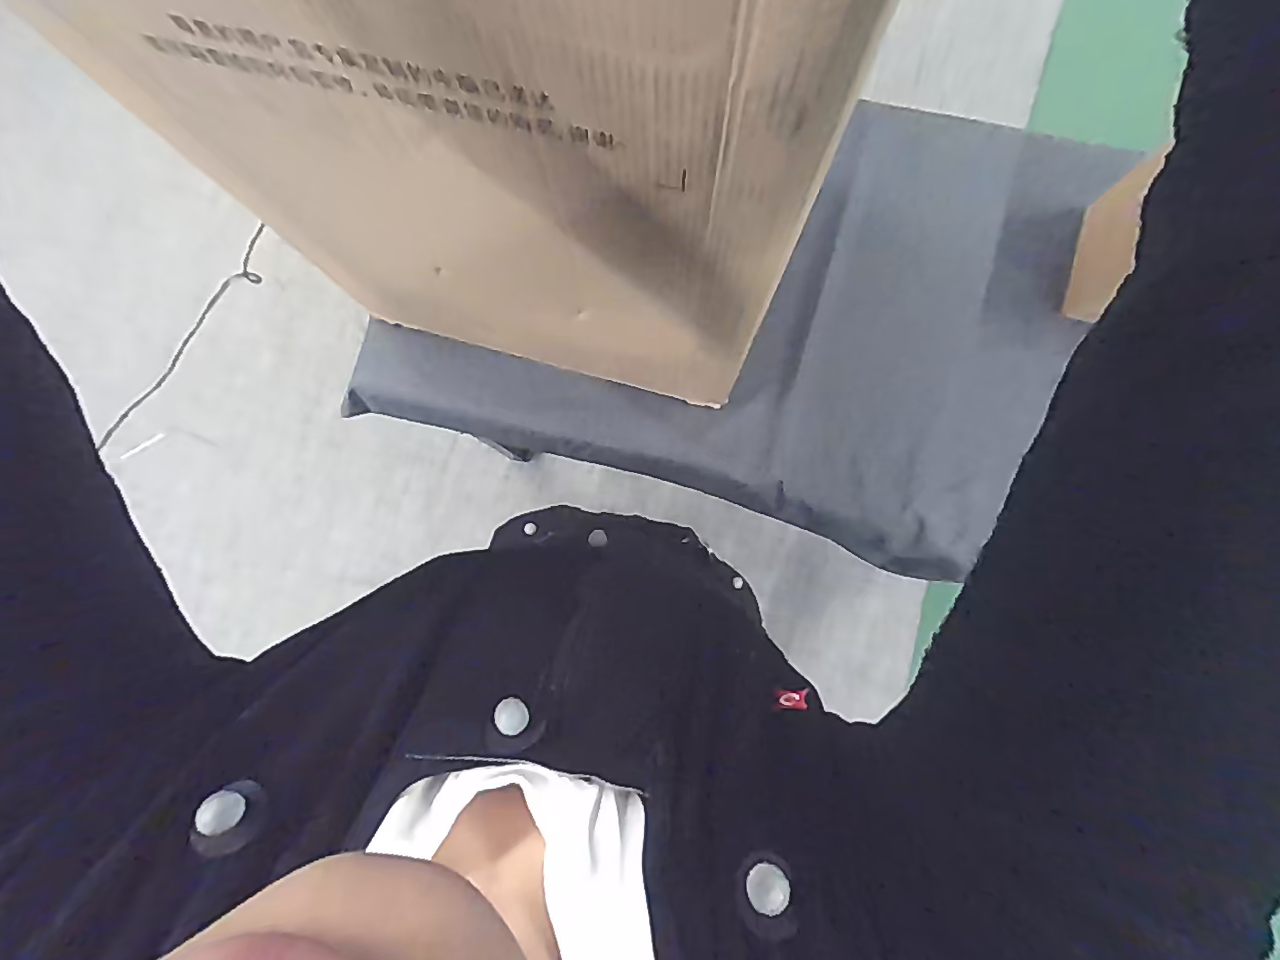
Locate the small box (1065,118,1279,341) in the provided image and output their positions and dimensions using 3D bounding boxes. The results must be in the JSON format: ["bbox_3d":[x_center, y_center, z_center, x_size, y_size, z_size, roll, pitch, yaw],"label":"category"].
[{"bbox_3d":[0.695,-0.305,0.691,0.168,0.176,0.179,17,84,5],"label":"small box"}]
